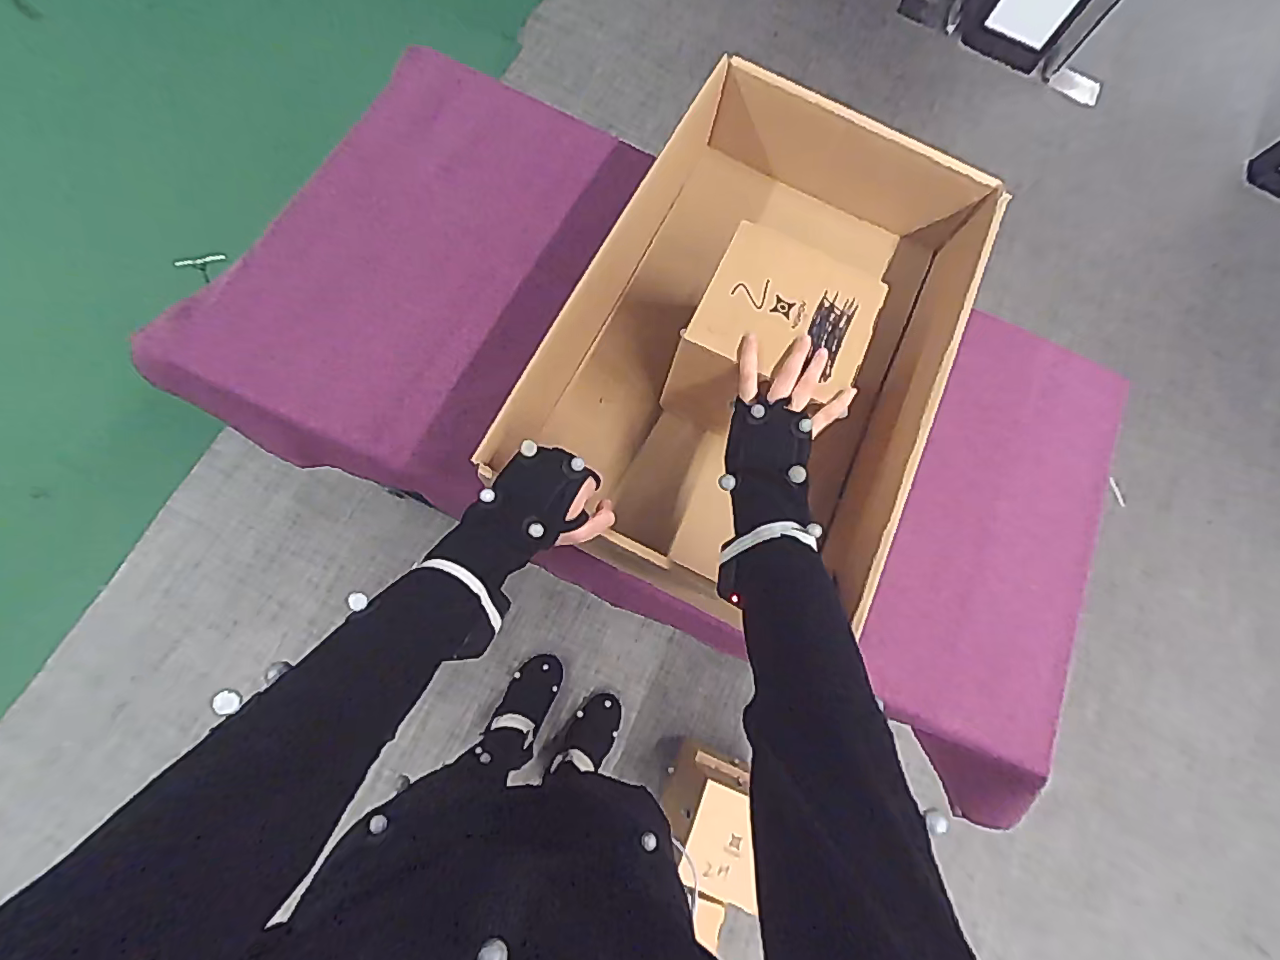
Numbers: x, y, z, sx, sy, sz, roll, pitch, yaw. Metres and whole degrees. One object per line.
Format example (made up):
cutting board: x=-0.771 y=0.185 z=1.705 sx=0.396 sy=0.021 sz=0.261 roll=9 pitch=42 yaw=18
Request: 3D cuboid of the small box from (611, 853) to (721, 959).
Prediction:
small box: x=0.046 y=0.926 z=1.144 sx=0.179 sy=0.176 sz=0.168 roll=21 pitch=73 yaw=-2

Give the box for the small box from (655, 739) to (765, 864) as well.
small box: x=0.151 y=0.707 z=1.214 sx=0.179 sy=0.176 sz=0.168 roll=25 pitch=74 yaw=1
